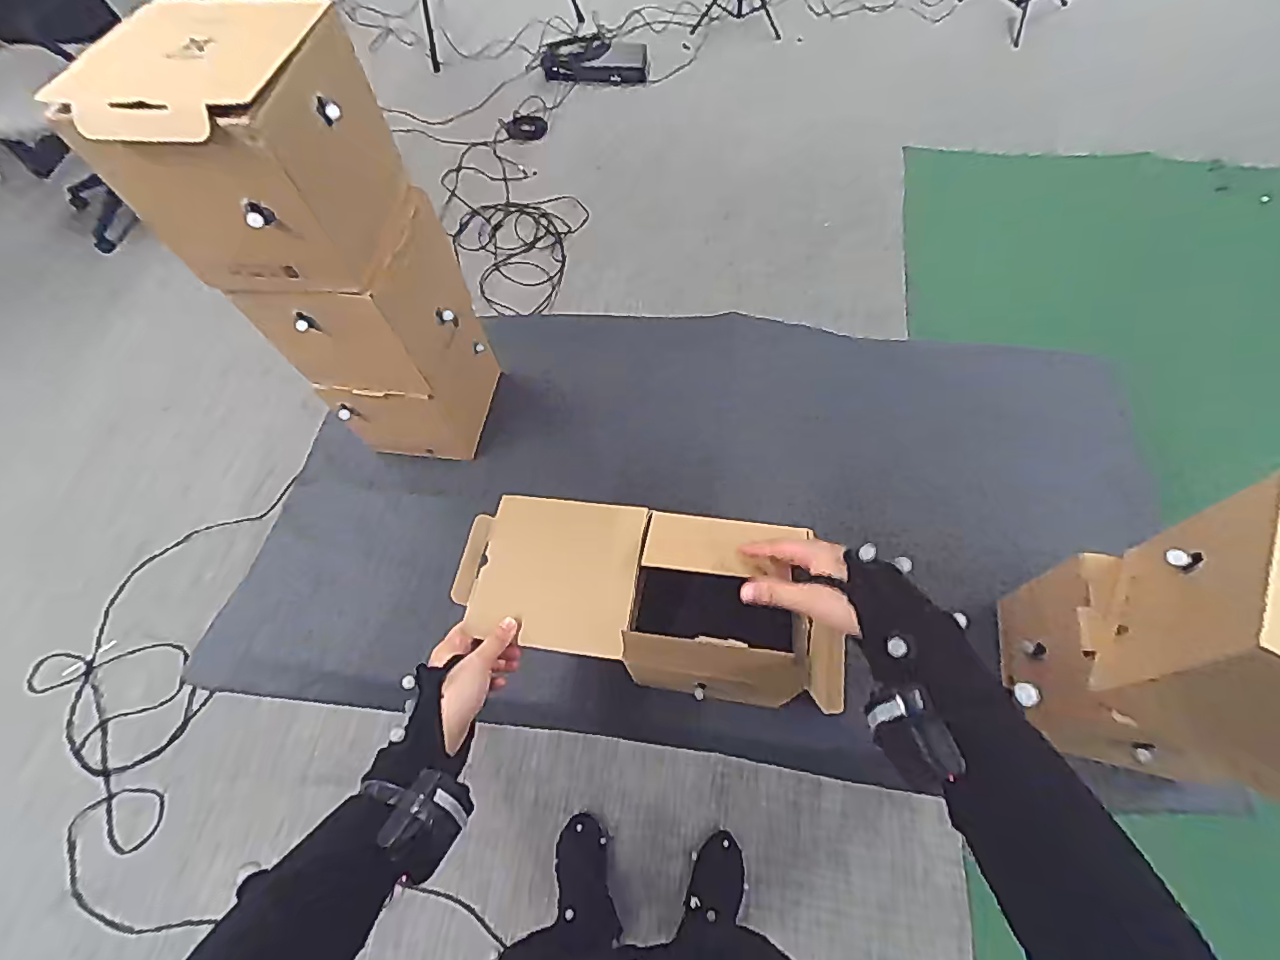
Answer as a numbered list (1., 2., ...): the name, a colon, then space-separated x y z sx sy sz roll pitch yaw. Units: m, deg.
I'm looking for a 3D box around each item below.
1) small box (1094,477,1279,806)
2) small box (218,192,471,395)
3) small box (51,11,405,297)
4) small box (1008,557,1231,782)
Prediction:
1. small box: 0.504 0.134 0.410 0.179 0.176 0.168 31 65 18
2. small box: -0.330 -0.217 0.645 0.179 0.176 0.168 6 64 6
3. small box: -0.345 -0.292 0.502 0.168 0.176 0.179 3 62 4
4. small box: 0.511 0.202 0.559 0.179 0.176 0.168 11 61 10
